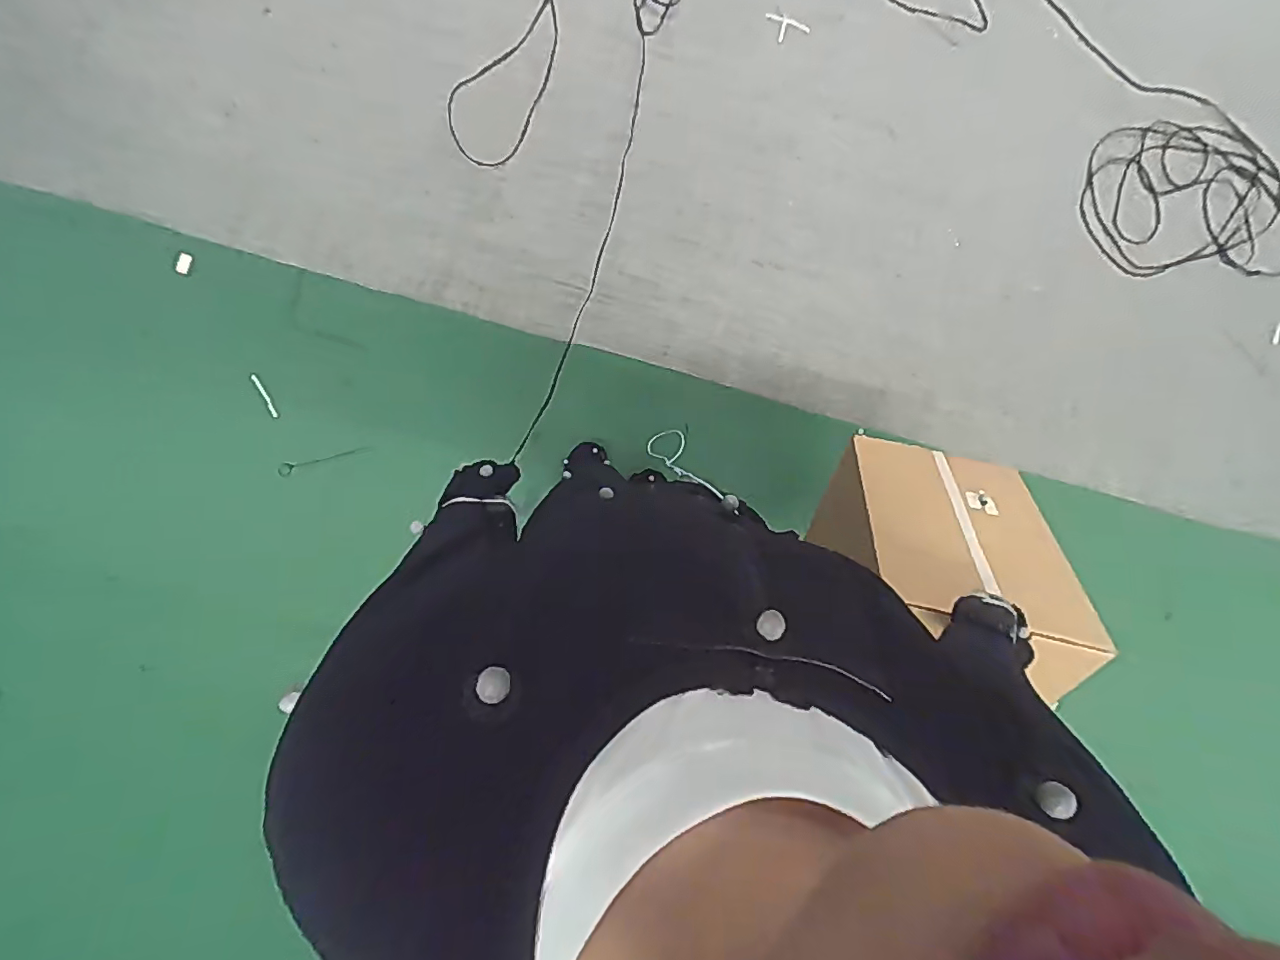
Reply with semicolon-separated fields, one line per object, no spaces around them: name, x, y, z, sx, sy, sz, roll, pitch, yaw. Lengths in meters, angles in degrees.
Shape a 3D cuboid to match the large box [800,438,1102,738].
large box;0.497;0.184;0.987;0.320;0.408;0.320;13;130;3
